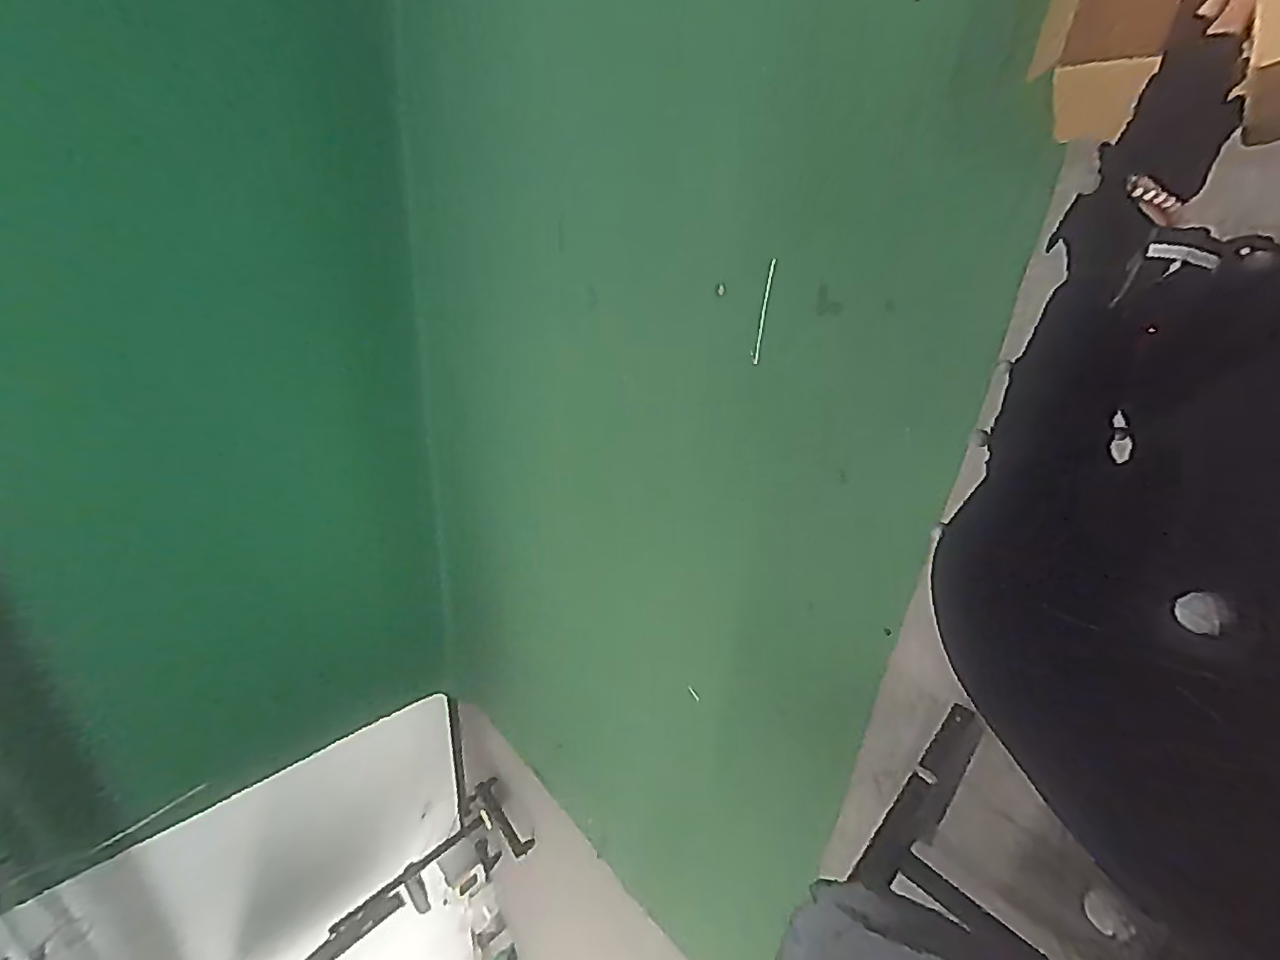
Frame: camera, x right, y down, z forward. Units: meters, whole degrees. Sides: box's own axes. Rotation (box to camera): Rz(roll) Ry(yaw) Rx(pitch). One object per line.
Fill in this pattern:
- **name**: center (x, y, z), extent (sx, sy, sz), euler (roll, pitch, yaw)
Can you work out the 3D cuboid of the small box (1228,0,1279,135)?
- **small box**: center (0.468, -0.330, 0.300), extent (0.179, 0.176, 0.168), euler (7, 102, 45)
